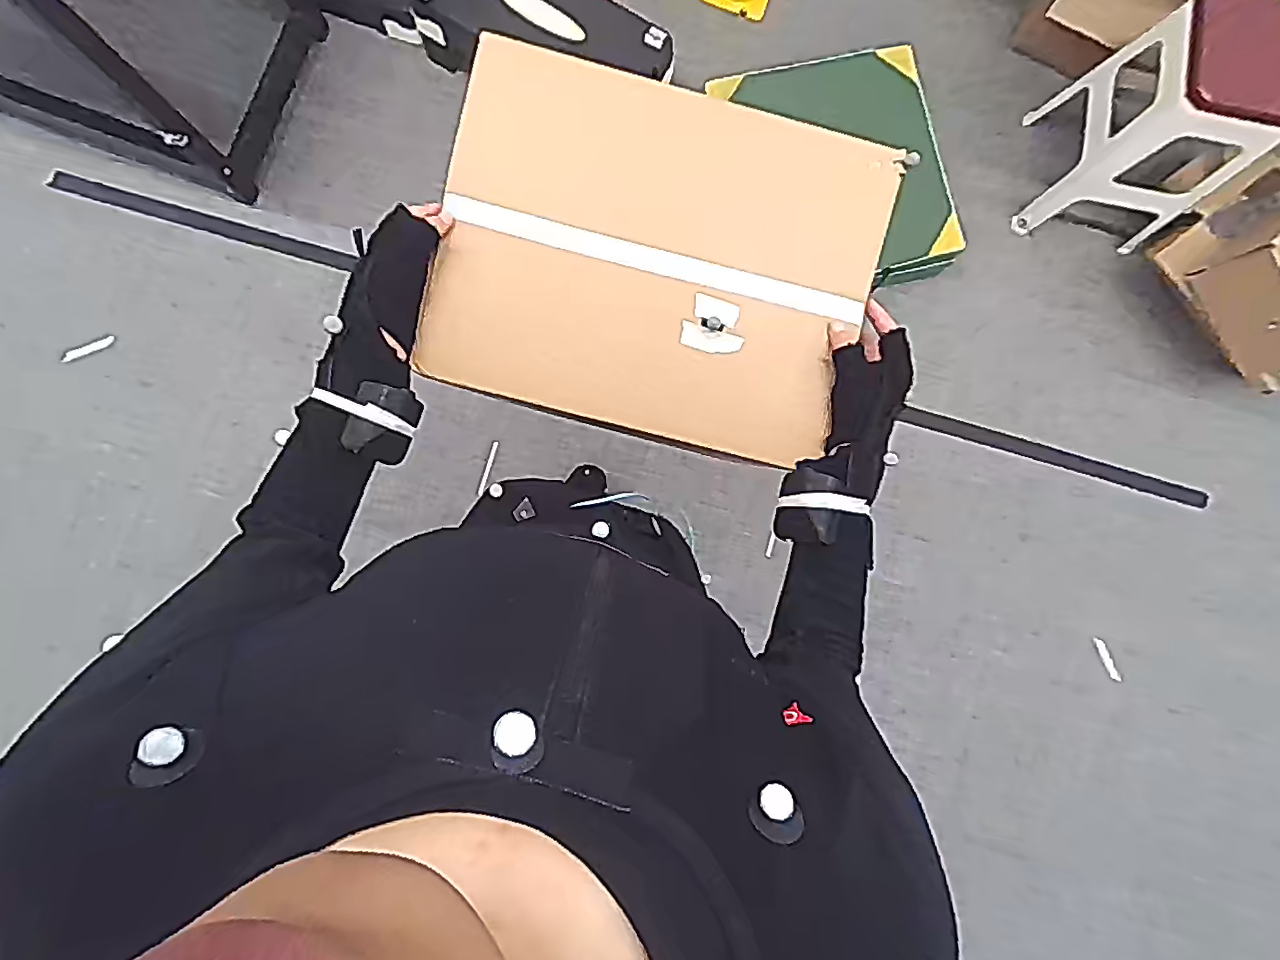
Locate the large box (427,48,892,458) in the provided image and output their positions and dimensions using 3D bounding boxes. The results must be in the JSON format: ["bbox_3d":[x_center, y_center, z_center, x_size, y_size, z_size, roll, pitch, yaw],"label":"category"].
[{"bbox_3d":[0.013,-0.224,0.672,0.408,0.320,0.320,15,94,-3],"label":"large box"}]
